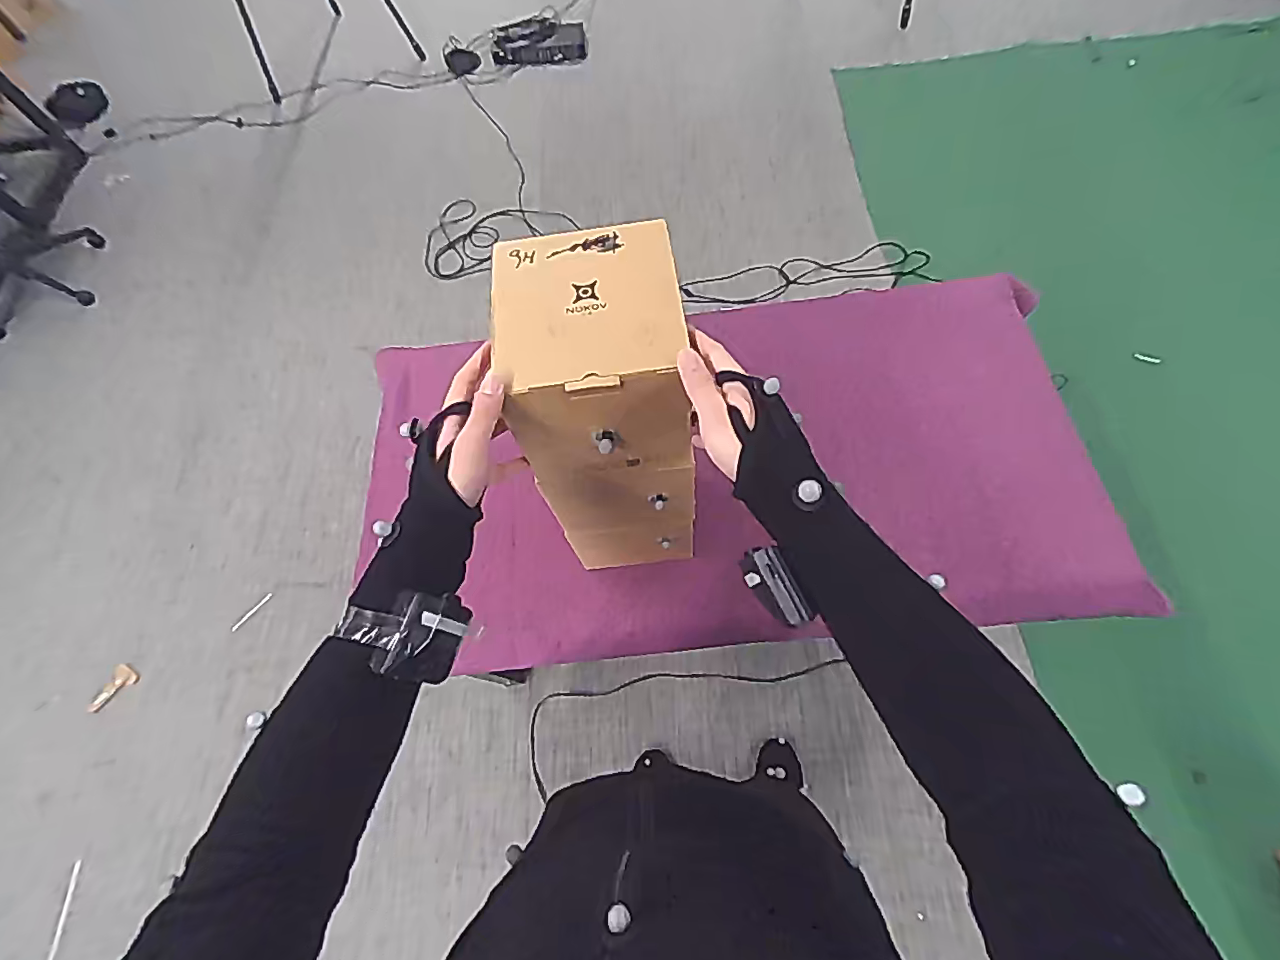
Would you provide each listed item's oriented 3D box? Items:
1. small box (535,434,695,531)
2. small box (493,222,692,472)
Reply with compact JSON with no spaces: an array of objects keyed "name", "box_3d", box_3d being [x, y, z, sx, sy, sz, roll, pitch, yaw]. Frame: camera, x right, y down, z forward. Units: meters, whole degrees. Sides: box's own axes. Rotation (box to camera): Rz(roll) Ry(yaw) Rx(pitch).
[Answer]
[{"name":"small box","box_3d":[-0.027,-0.044,0.686,0.179,0.176,0.168,-6,64,3]},{"name":"small box","box_3d":[-0.040,-0.119,0.543,0.168,0.176,0.179,-8,65,2]}]
